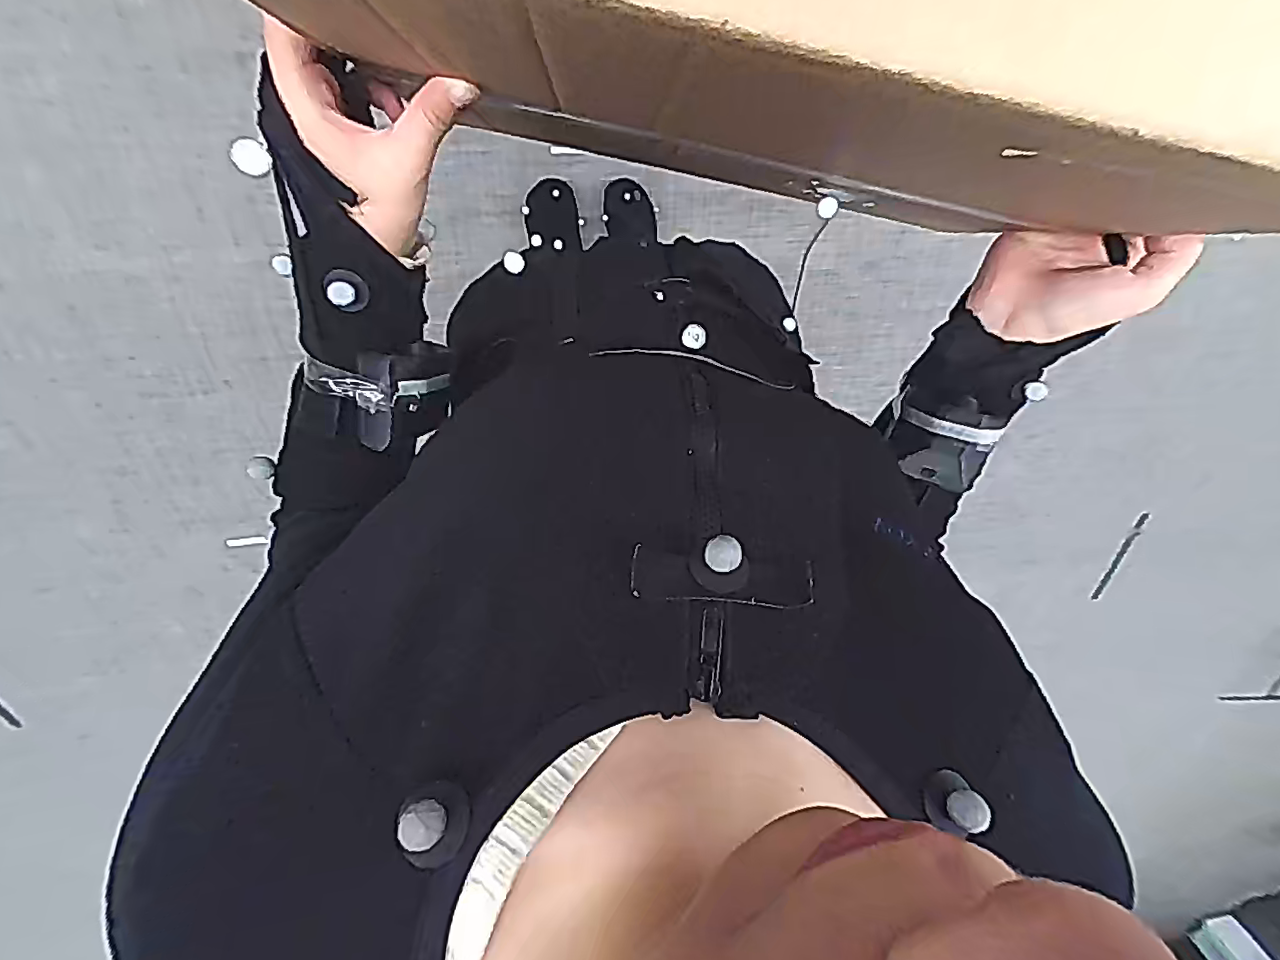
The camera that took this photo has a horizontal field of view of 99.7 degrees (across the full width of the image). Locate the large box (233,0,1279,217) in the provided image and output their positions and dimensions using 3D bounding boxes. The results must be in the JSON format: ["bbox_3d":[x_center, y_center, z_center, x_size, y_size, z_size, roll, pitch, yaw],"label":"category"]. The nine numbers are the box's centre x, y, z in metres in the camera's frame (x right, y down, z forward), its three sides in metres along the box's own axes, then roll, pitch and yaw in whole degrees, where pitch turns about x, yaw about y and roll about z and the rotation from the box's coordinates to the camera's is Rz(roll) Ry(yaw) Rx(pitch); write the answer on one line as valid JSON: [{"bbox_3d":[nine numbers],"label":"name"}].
[{"bbox_3d":[0.071,-0.313,0.214,0.408,0.320,0.320,7,116,-6],"label":"large box"}]
